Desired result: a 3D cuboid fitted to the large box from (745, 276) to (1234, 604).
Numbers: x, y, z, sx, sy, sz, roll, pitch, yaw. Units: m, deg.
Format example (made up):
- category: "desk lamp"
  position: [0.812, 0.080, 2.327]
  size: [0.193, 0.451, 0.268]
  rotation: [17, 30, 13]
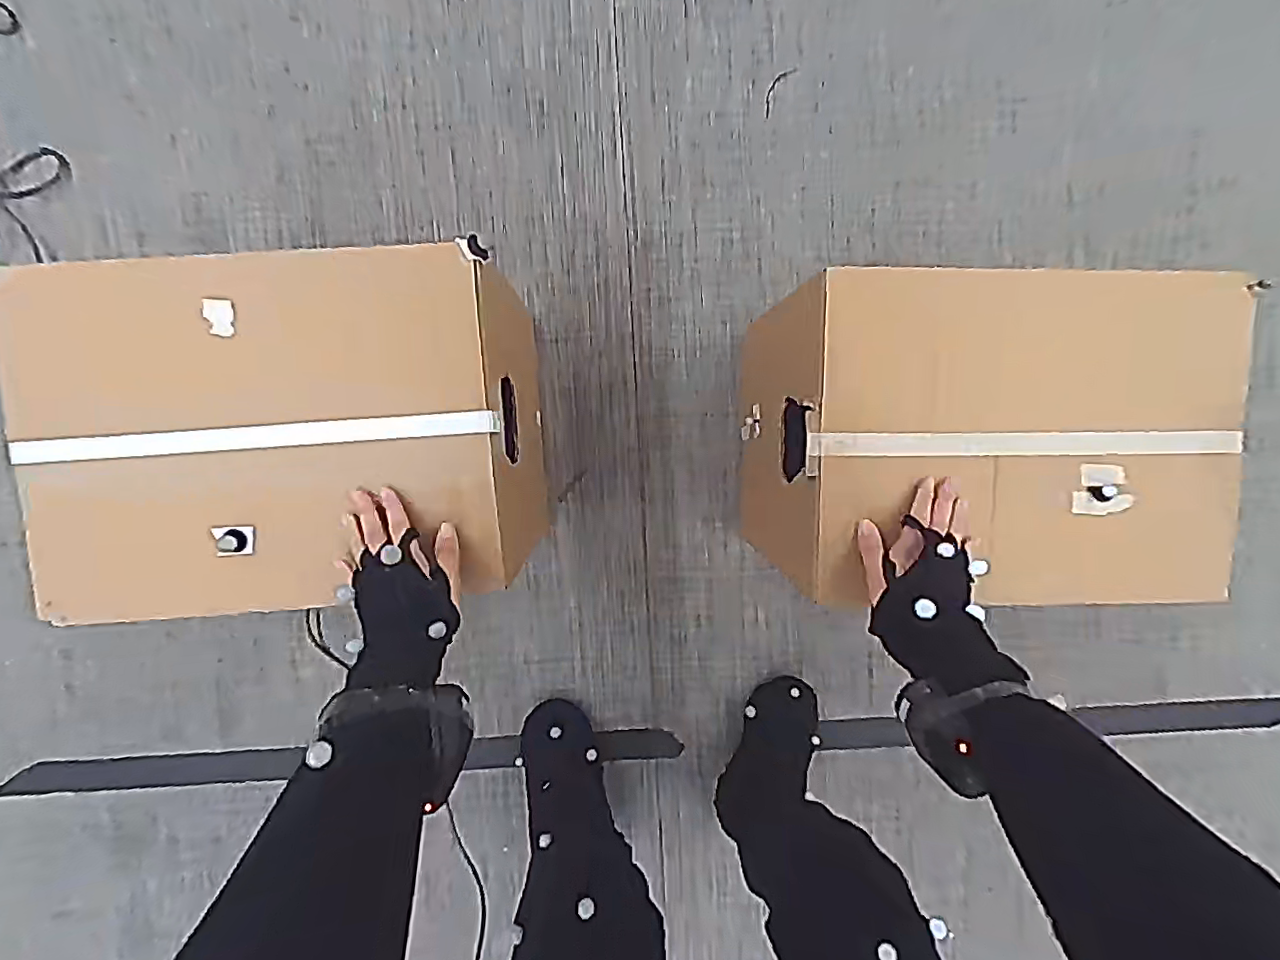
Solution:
- category: "large box"
  position: [0.360, -0.049, 0.666]
  size: [0.408, 0.320, 0.320]
  rotation: [0, 96, -3]
